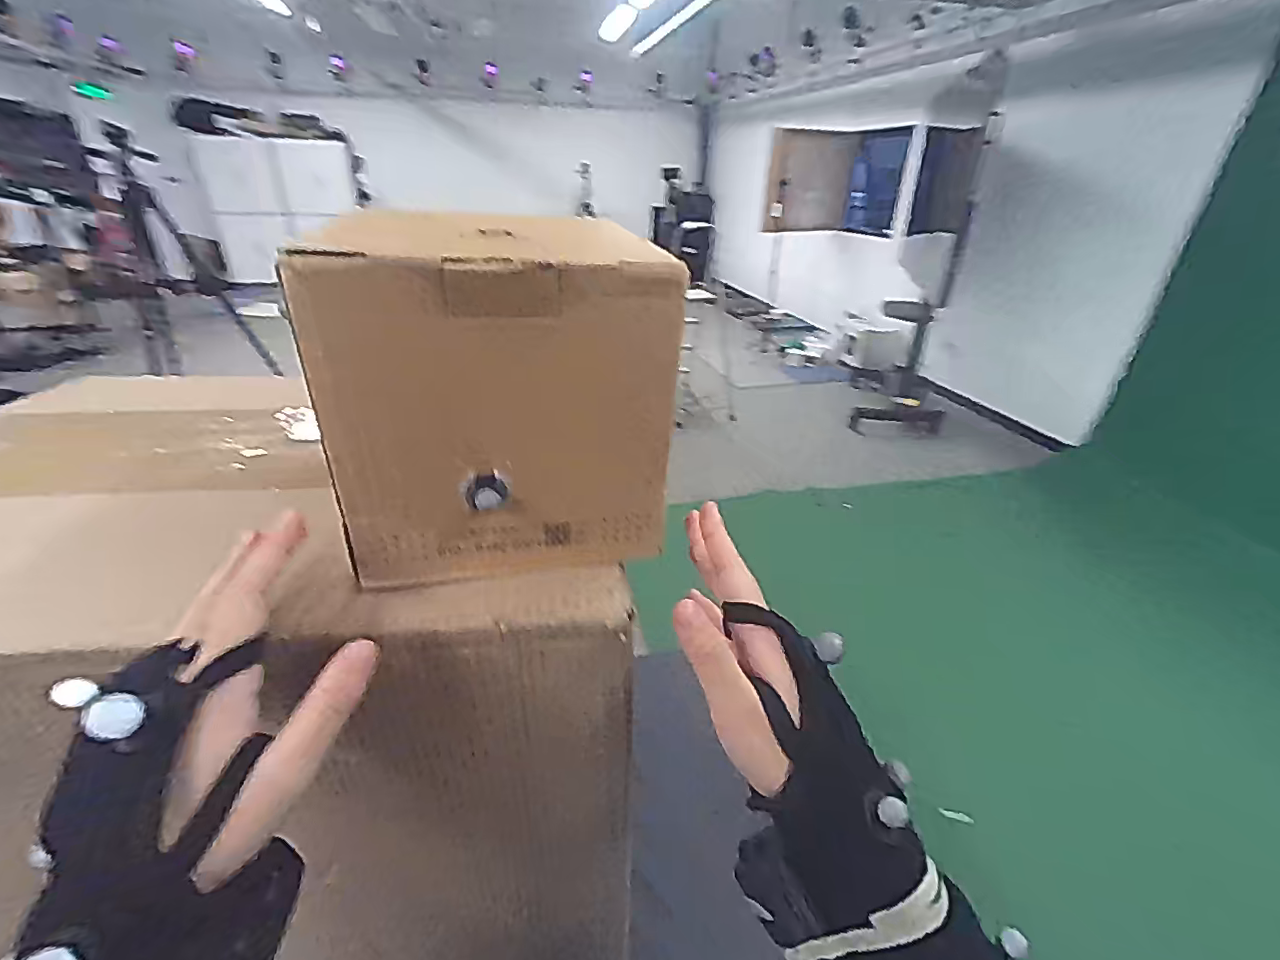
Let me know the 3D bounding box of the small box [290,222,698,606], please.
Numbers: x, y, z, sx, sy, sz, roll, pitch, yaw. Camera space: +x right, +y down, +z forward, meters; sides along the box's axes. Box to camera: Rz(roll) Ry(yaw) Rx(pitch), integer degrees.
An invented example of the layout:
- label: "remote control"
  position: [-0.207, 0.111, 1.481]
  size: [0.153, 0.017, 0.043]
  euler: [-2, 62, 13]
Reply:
- label: "small box"
  position: [-0.078, -0.050, 0.329]
  size: [0.168, 0.176, 0.179]
  euler: [-4, 32, -14]
